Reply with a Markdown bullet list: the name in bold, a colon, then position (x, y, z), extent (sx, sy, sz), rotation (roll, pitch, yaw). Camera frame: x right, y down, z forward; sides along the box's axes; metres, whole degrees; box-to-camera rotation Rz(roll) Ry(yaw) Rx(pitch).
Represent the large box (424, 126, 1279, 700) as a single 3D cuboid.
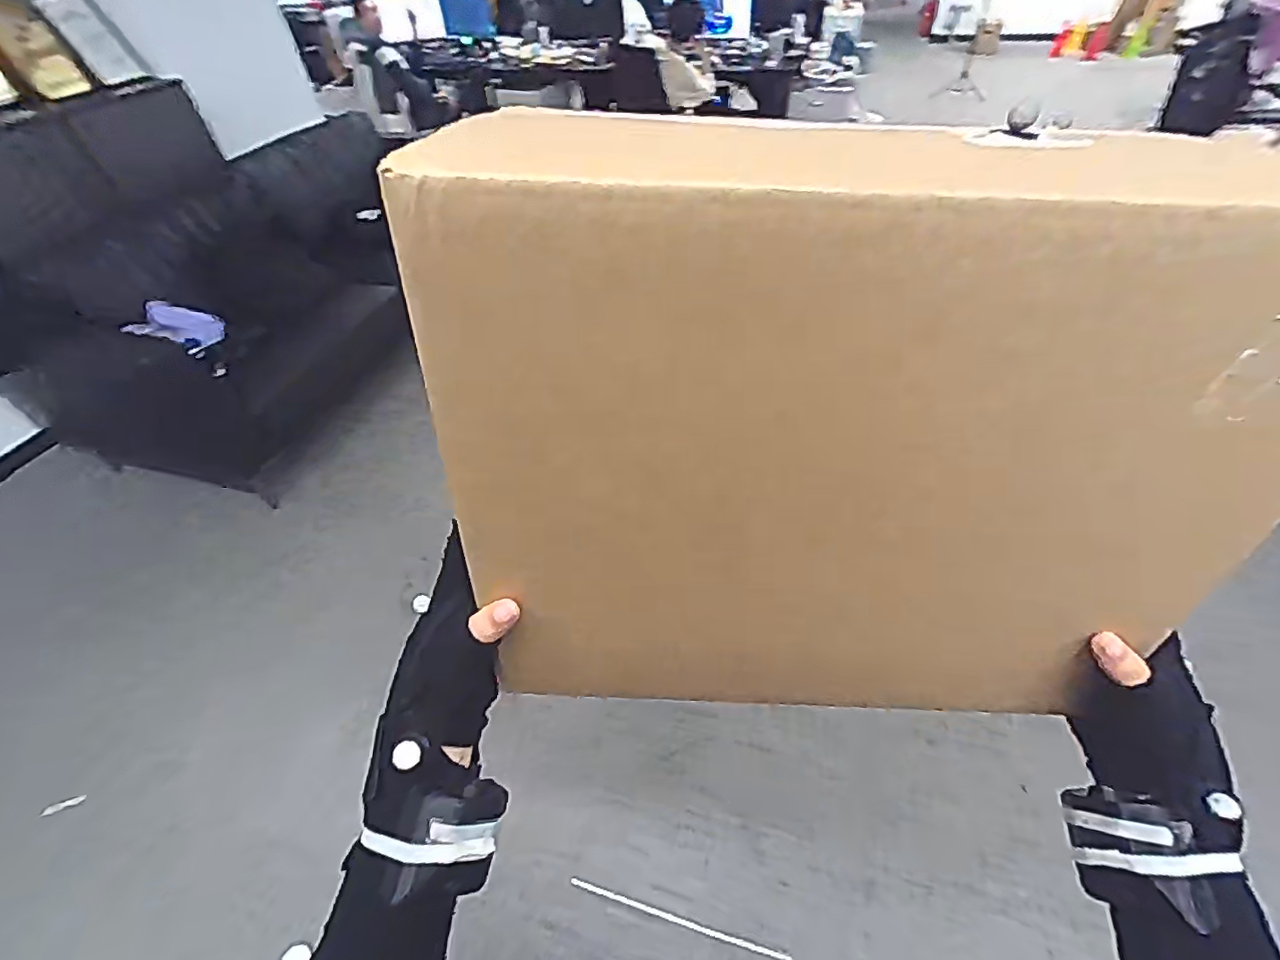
- **large box**: position (0.109, -0.060, 0.399), extent (0.408, 0.320, 0.320), rotation (2, 37, -2)
